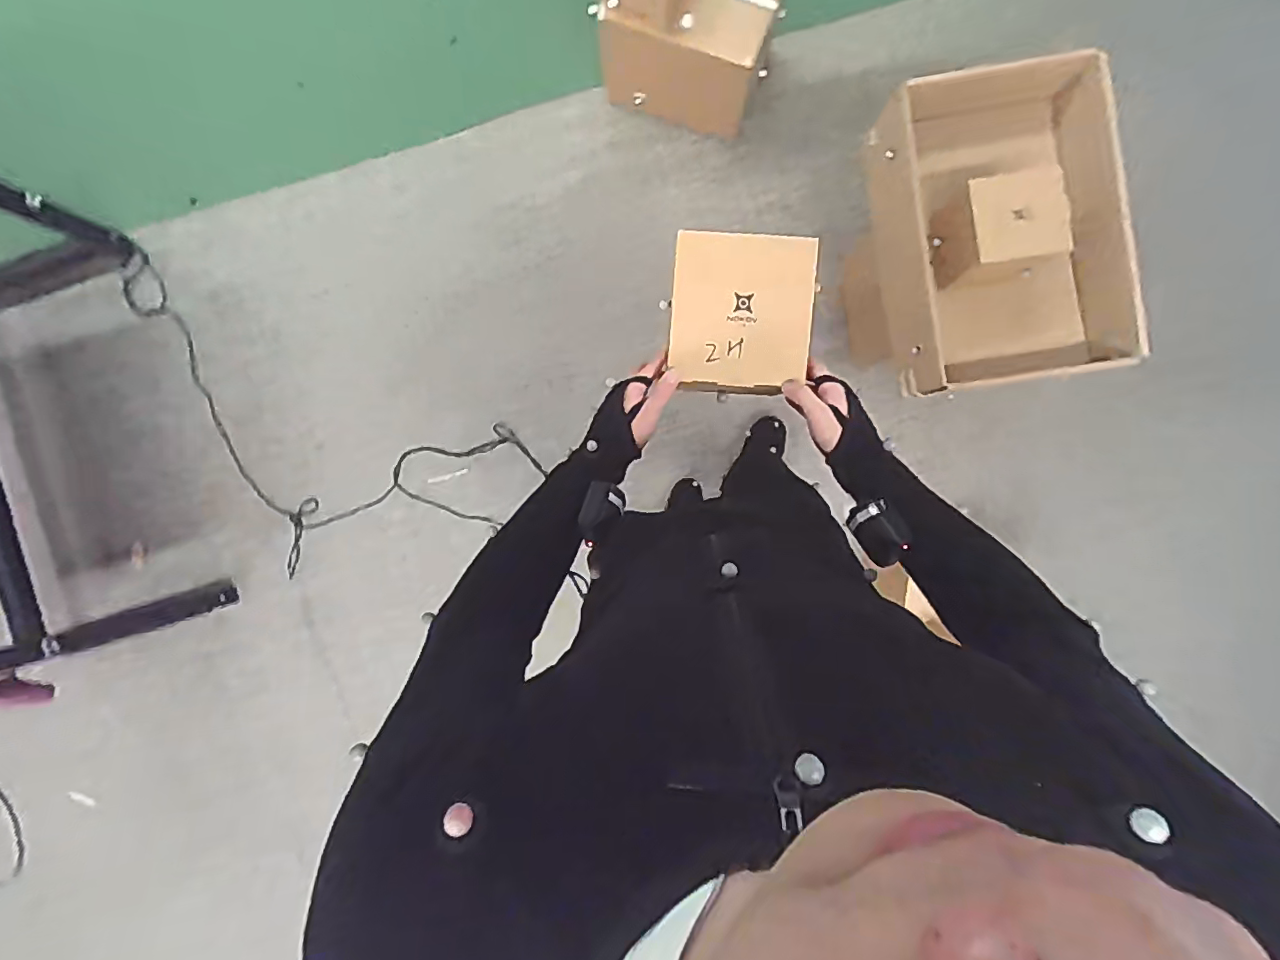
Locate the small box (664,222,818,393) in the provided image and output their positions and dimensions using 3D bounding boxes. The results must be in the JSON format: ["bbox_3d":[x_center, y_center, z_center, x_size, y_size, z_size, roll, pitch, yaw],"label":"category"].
[{"bbox_3d":[0.119,-0.212,0.705,0.168,0.176,0.179,3,96,1],"label":"small box"}]

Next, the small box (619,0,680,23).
[{"bbox_3d":[0.029,-1.194,1.213,0.168,0.176,0.179,24,91,0],"label":"small box"}]
